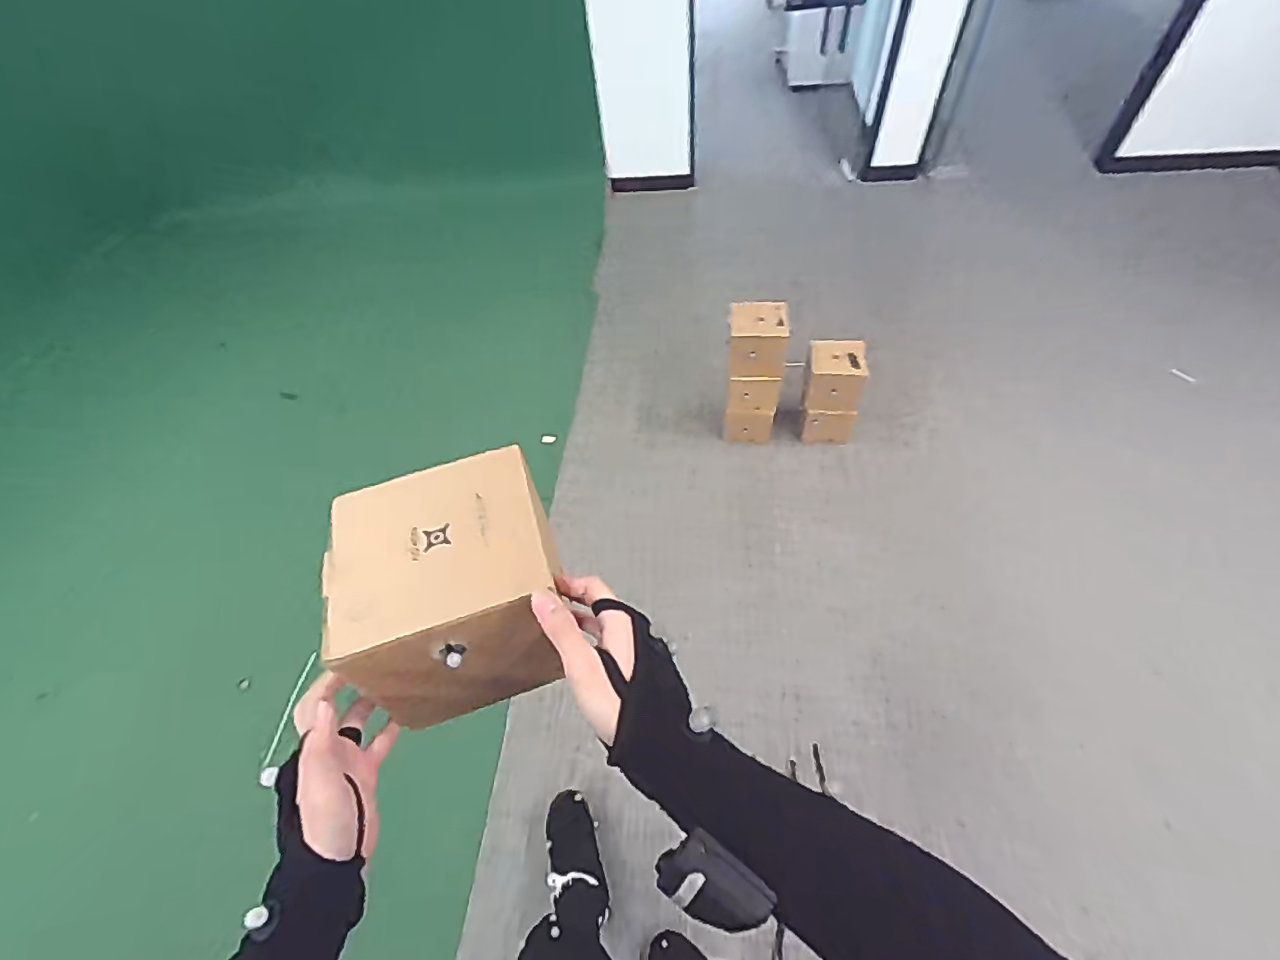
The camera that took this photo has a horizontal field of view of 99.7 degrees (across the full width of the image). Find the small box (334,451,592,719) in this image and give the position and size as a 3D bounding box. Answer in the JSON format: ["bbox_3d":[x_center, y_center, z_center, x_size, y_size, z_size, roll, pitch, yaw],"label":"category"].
[{"bbox_3d":[-0.158,0.104,0.523,0.179,0.176,0.168,-16,48,-7],"label":"small box"}]

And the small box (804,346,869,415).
[{"bbox_3d":[0.657,-0.334,1.829,0.179,0.176,0.168,3,54,10],"label":"small box"}]

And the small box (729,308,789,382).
[{"bbox_3d":[0.374,-0.427,1.727,0.179,0.176,0.168,1,54,8],"label":"small box"}]

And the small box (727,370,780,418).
[{"bbox_3d":[0.388,-0.327,1.857,0.168,0.176,0.179,1,54,7],"label":"small box"}]

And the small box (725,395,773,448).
[{"bbox_3d":[0.401,-0.233,1.988,0.168,0.176,0.179,3,55,8],"label":"small box"}]
